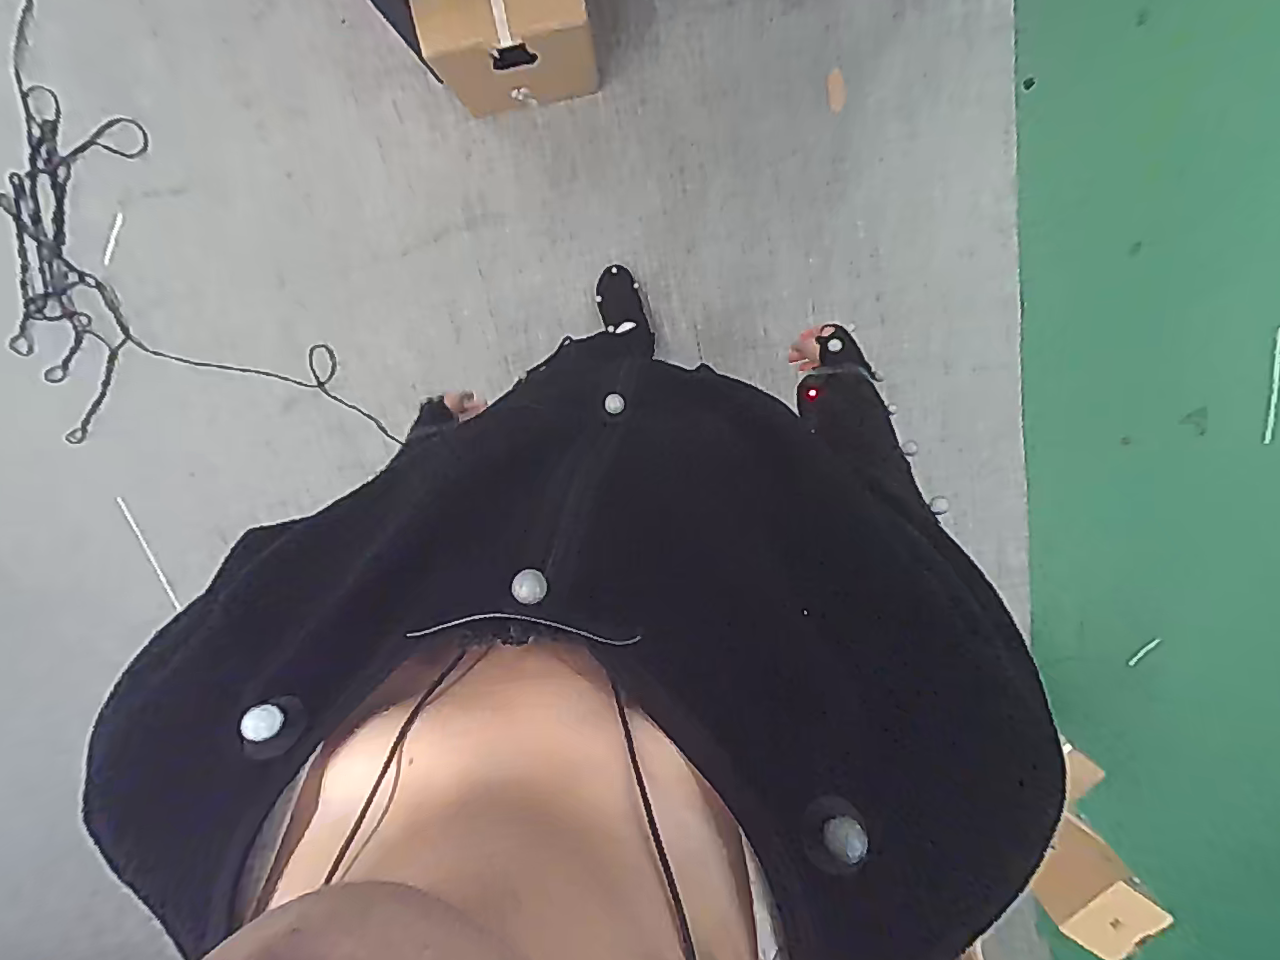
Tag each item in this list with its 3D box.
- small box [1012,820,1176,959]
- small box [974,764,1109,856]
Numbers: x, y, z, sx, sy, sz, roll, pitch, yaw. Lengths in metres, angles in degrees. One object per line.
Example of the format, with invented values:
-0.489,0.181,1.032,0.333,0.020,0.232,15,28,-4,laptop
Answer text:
0.982,0.897,1.186,0.179,0.176,0.168,37,102,-9,small box
0.990,0.854,1.343,0.179,0.176,0.168,39,102,-9,small box
